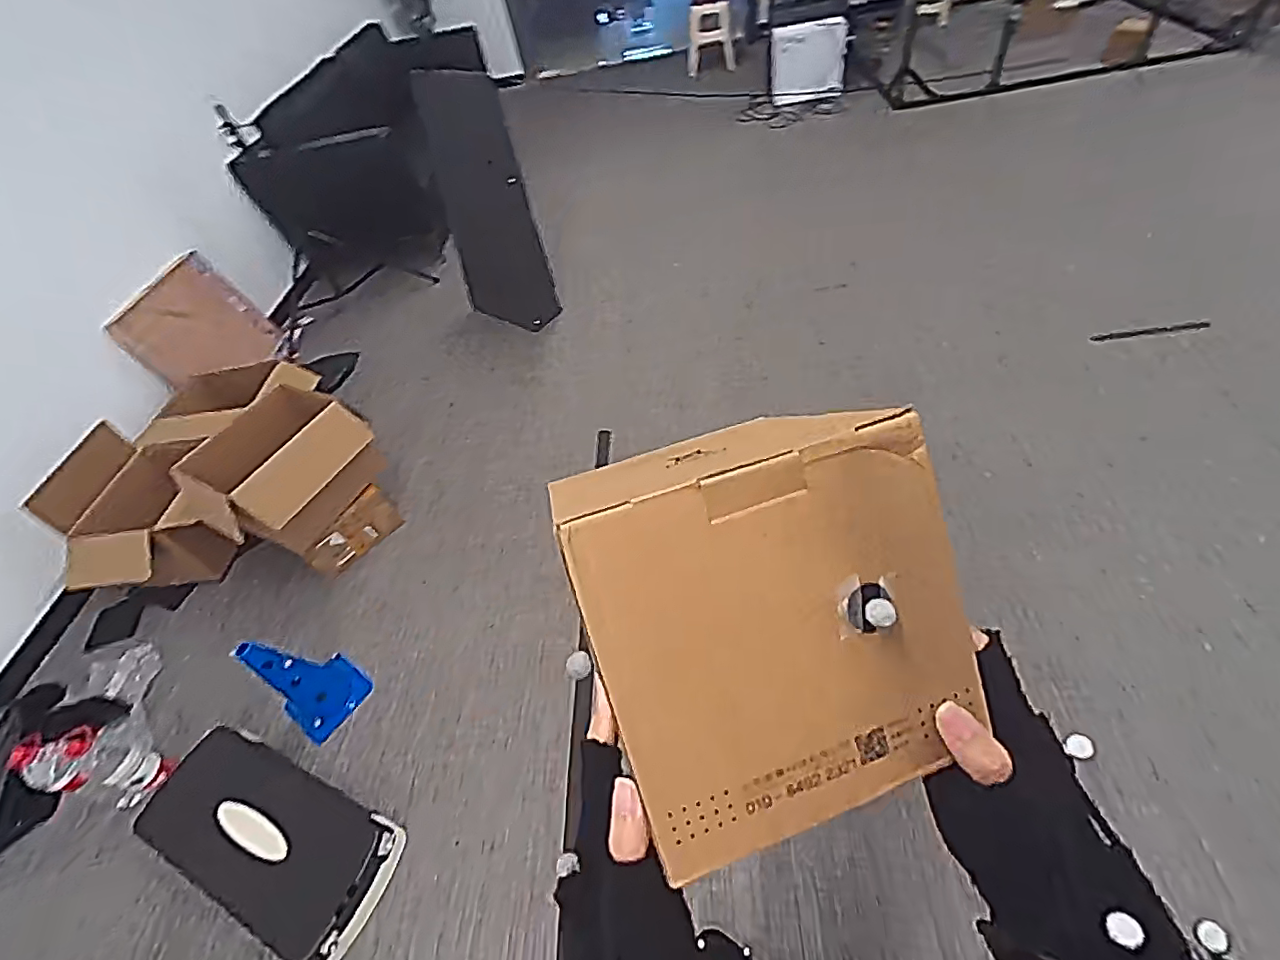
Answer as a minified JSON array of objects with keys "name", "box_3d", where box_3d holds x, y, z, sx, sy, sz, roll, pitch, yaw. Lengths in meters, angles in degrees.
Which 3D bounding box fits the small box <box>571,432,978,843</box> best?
[{"name":"small box","box_3d":[0.062,0.077,0.328,0.168,0.176,0.179,-17,5,-7]}]
